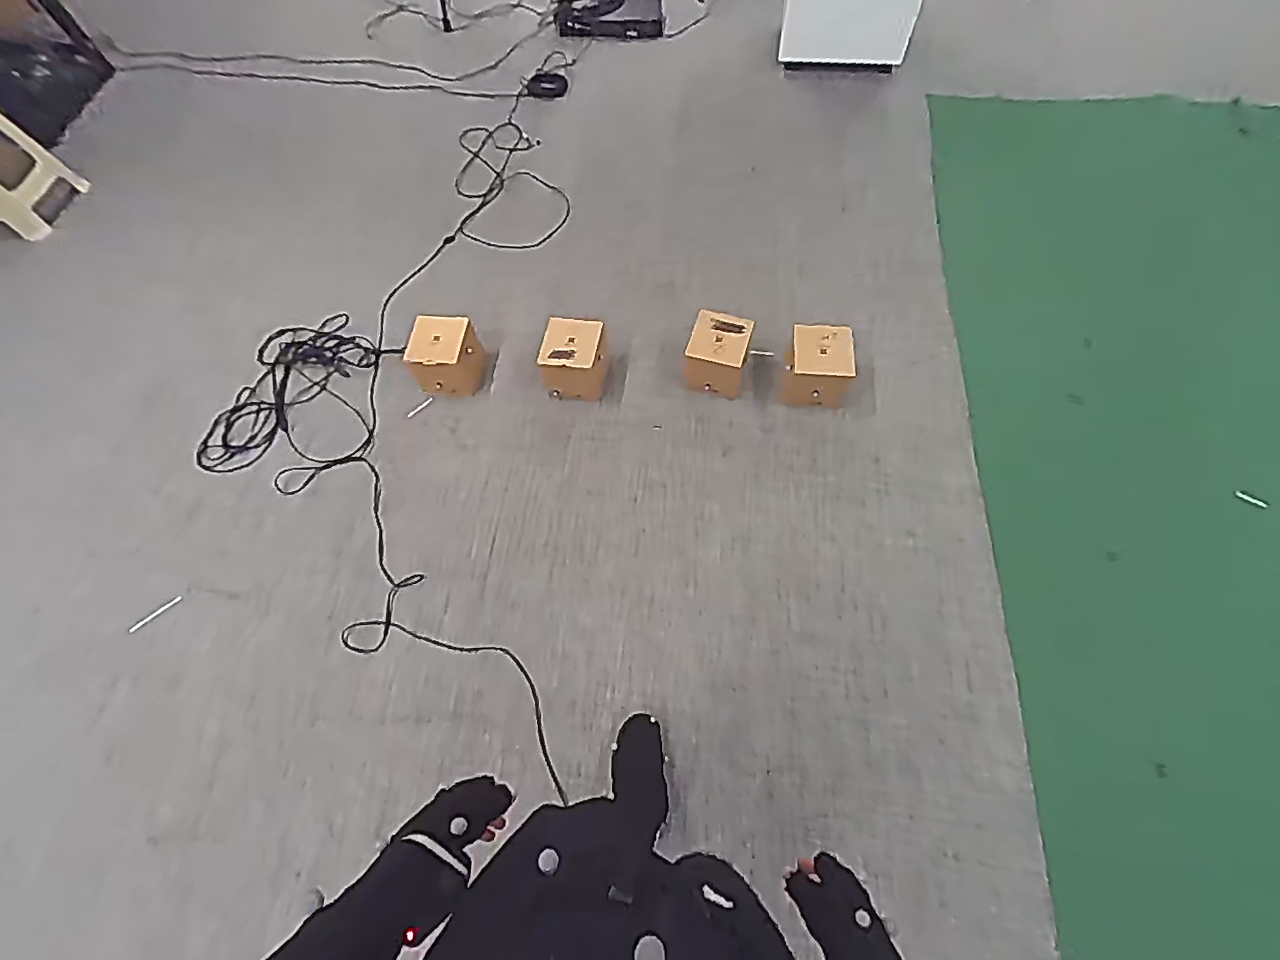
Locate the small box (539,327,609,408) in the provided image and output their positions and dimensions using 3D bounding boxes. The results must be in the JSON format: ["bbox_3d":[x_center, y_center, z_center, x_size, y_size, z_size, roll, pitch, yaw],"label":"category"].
[{"bbox_3d":[-0.195,-0.341,1.658,0.168,0.176,0.179,7,65,7],"label":"small box"}]

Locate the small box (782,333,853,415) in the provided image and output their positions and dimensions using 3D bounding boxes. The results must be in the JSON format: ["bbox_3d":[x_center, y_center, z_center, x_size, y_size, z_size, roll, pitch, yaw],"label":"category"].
[{"bbox_3d":[0.521,-0.310,1.602,0.168,0.176,0.179,4,65,4],"label":"small box"}]

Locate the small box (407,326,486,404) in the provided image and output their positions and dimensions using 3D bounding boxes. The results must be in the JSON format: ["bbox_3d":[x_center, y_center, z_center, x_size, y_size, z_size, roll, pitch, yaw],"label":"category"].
[{"bbox_3d":[-0.596,-0.359,1.694,0.168,0.176,0.179,3,65,5],"label":"small box"}]
